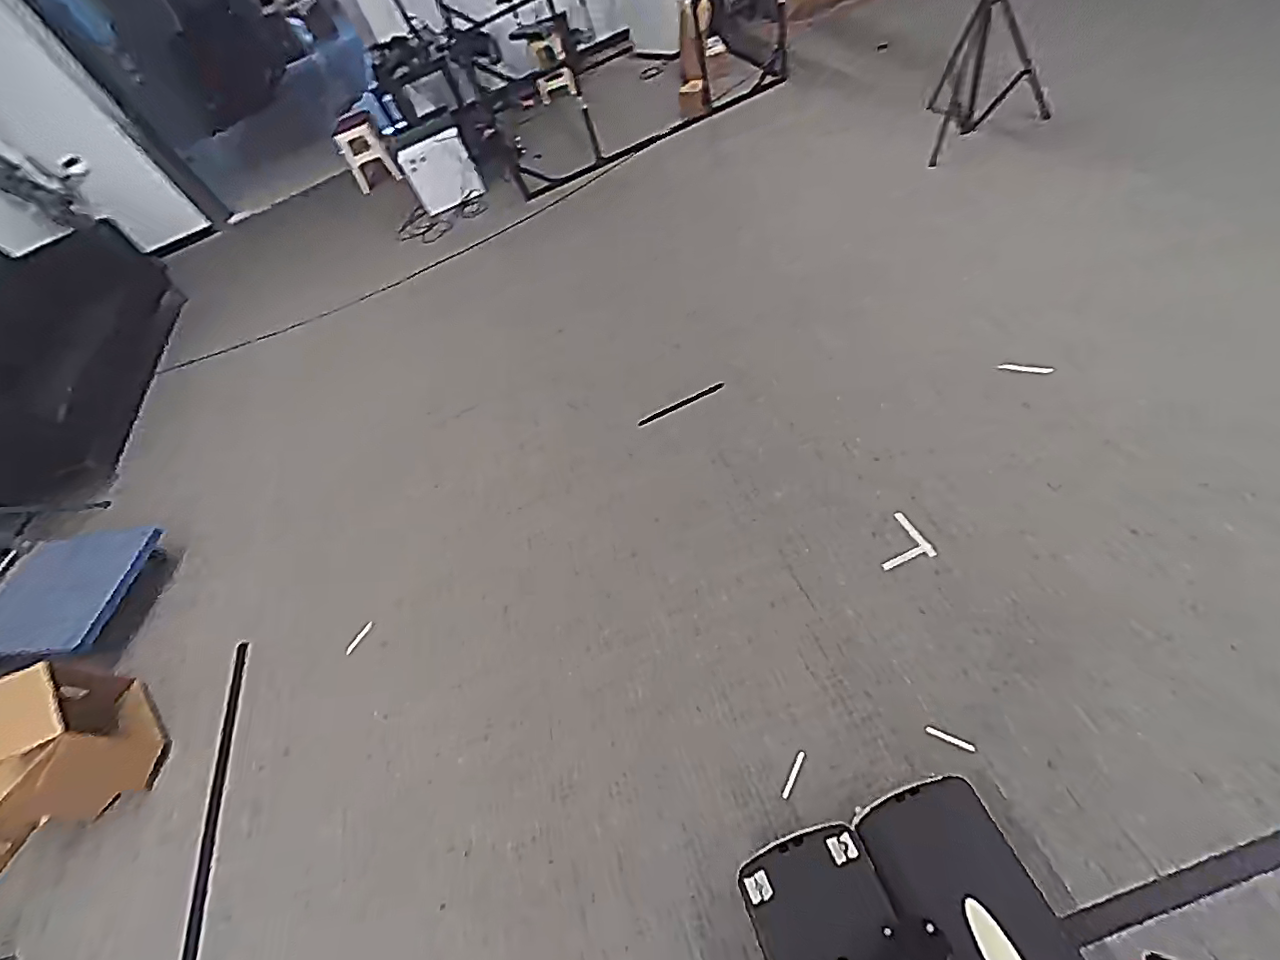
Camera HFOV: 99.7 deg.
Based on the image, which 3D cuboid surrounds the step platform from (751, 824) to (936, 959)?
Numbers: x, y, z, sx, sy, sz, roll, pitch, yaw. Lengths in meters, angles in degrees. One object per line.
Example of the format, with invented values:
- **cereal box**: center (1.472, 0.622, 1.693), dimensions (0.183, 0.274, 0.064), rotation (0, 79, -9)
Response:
- **step platform**: center (0.479, 1.063, 1.026), dimensions (0.286, 0.204, 0.684), rotation (-25, 50, 0)
